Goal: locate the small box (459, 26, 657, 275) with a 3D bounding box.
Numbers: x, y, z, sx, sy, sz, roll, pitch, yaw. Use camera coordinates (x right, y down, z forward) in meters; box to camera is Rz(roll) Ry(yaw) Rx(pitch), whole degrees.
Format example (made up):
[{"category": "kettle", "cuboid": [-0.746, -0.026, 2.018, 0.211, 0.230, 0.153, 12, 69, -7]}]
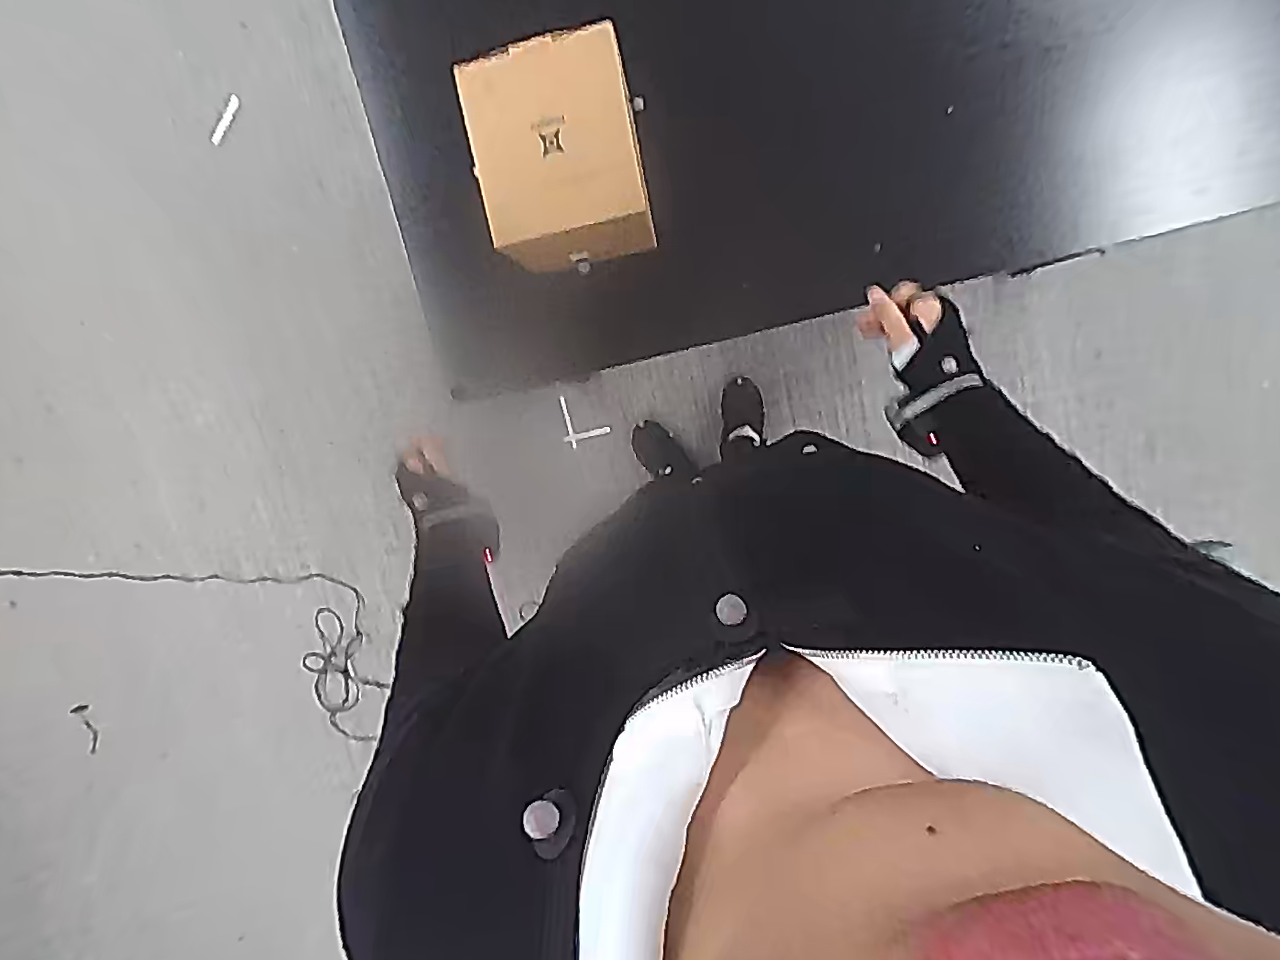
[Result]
[{"category": "small box", "cuboid": [-0.079, -0.355, 0.621, 0.168, 0.176, 0.179, -11, 100, 8]}]
